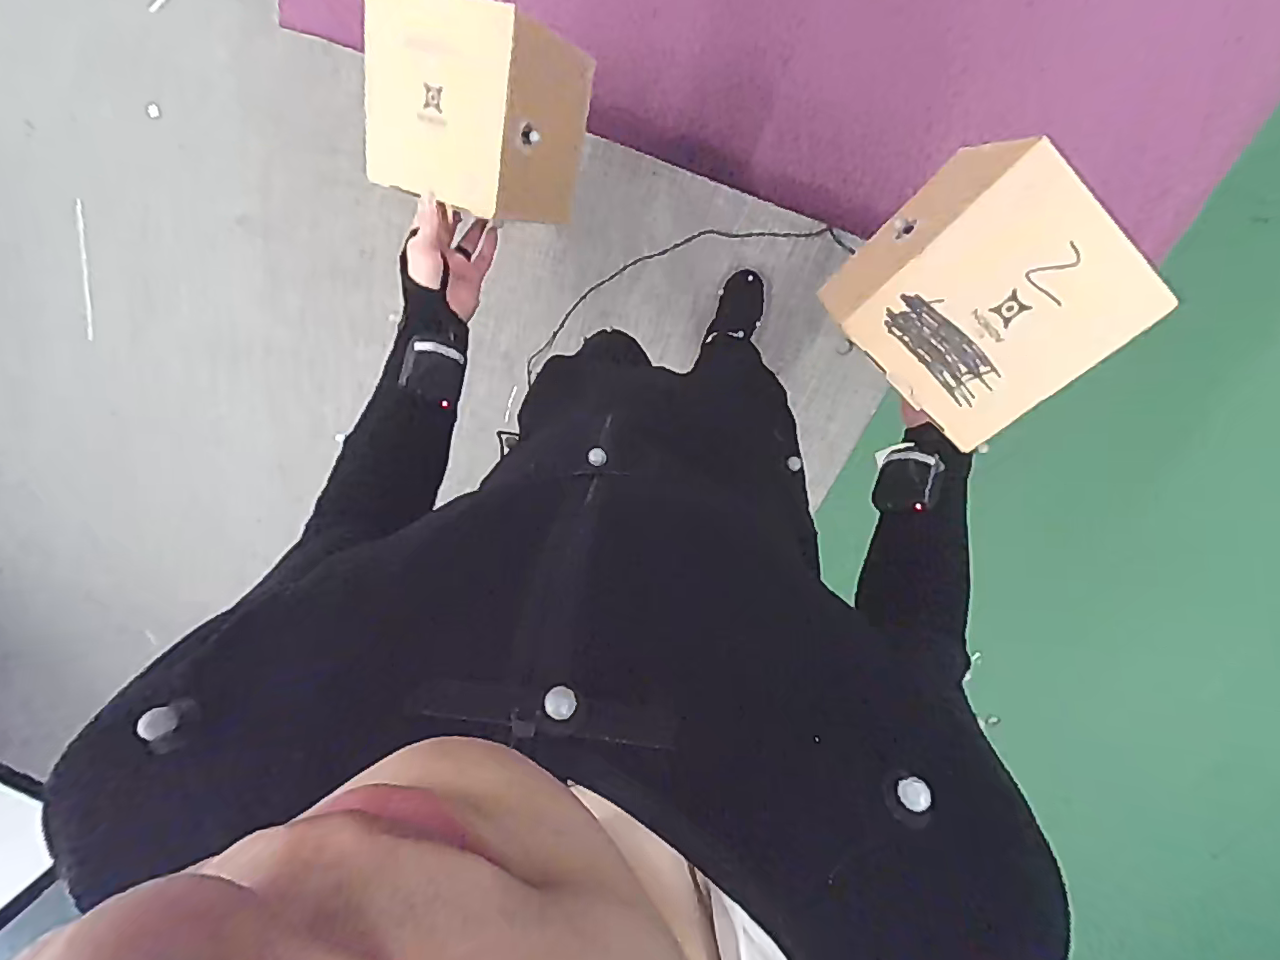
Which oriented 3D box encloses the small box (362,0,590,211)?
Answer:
[{"bbox_3d":[-0.172,-0.407,0.588,0.168,0.176,0.179,23,119,11],"label":"small box"}]
